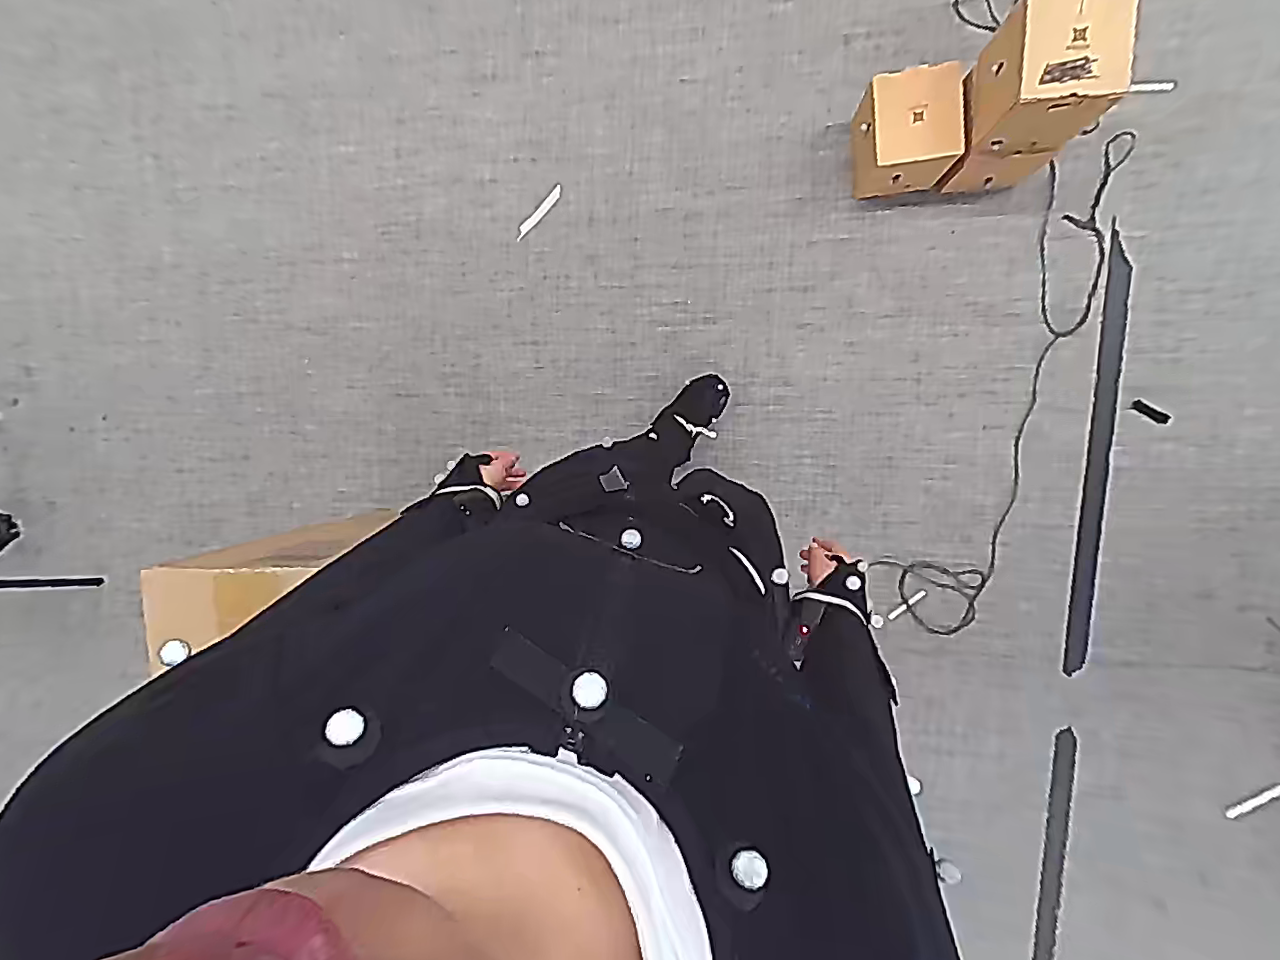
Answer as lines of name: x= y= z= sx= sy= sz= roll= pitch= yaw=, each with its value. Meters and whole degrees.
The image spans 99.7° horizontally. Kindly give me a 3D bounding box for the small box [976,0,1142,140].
small box: x=0.712 y=-0.716 z=0.938 sx=0.168 sy=0.176 sz=0.179 roll=1 pitch=95 yaw=7
